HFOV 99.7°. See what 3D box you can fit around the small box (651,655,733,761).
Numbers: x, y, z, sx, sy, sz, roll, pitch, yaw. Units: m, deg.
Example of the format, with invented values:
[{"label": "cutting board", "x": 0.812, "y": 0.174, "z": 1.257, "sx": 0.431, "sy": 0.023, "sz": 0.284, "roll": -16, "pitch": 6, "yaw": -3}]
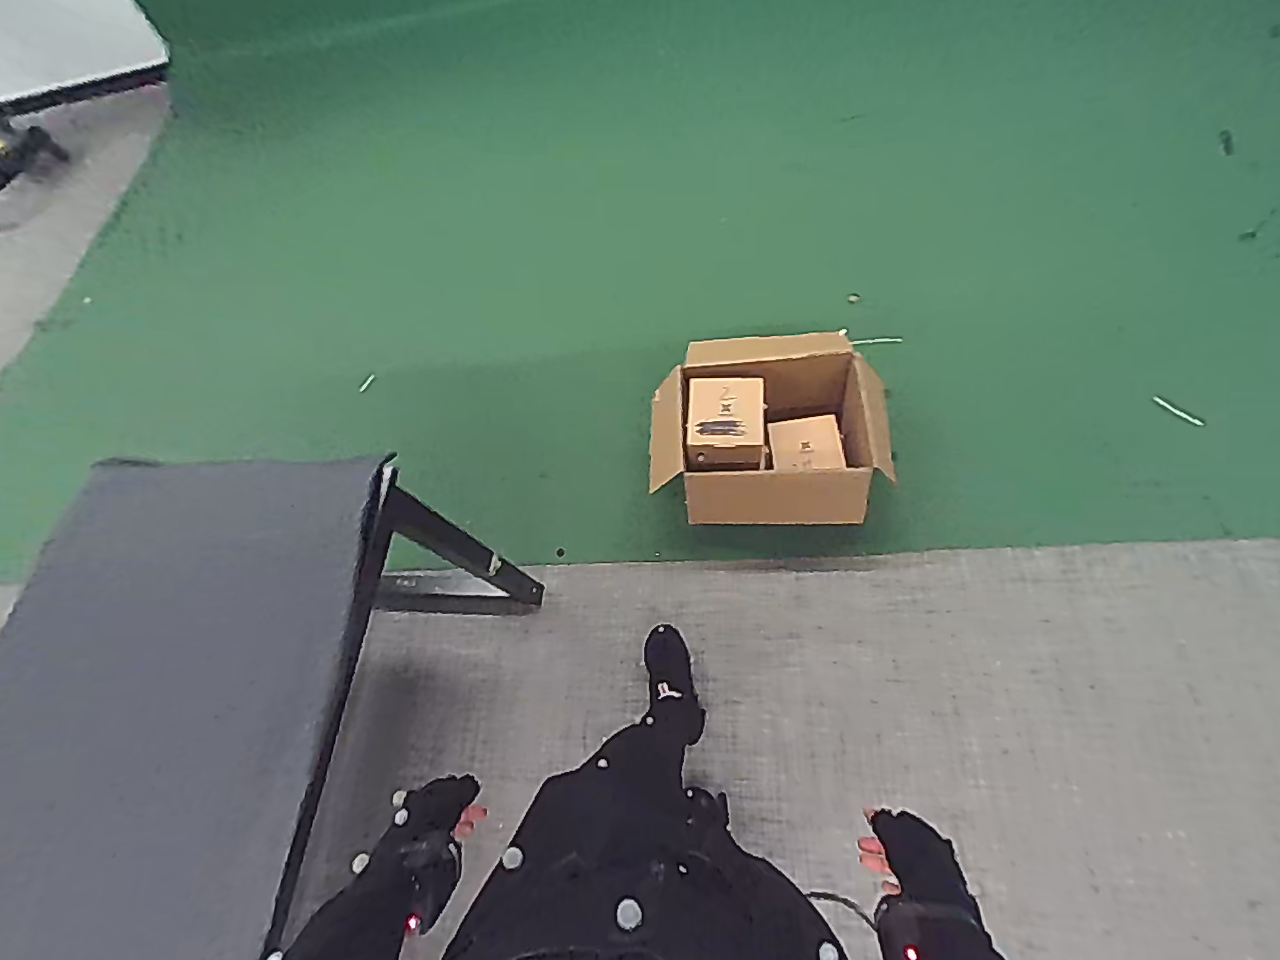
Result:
[{"label": "small box", "x": 0.117, "y": 0.507, "z": 1.223, "sx": 0.168, "sy": 0.176, "sz": 0.179, "roll": 4, "pitch": 82, "yaw": 5}]
